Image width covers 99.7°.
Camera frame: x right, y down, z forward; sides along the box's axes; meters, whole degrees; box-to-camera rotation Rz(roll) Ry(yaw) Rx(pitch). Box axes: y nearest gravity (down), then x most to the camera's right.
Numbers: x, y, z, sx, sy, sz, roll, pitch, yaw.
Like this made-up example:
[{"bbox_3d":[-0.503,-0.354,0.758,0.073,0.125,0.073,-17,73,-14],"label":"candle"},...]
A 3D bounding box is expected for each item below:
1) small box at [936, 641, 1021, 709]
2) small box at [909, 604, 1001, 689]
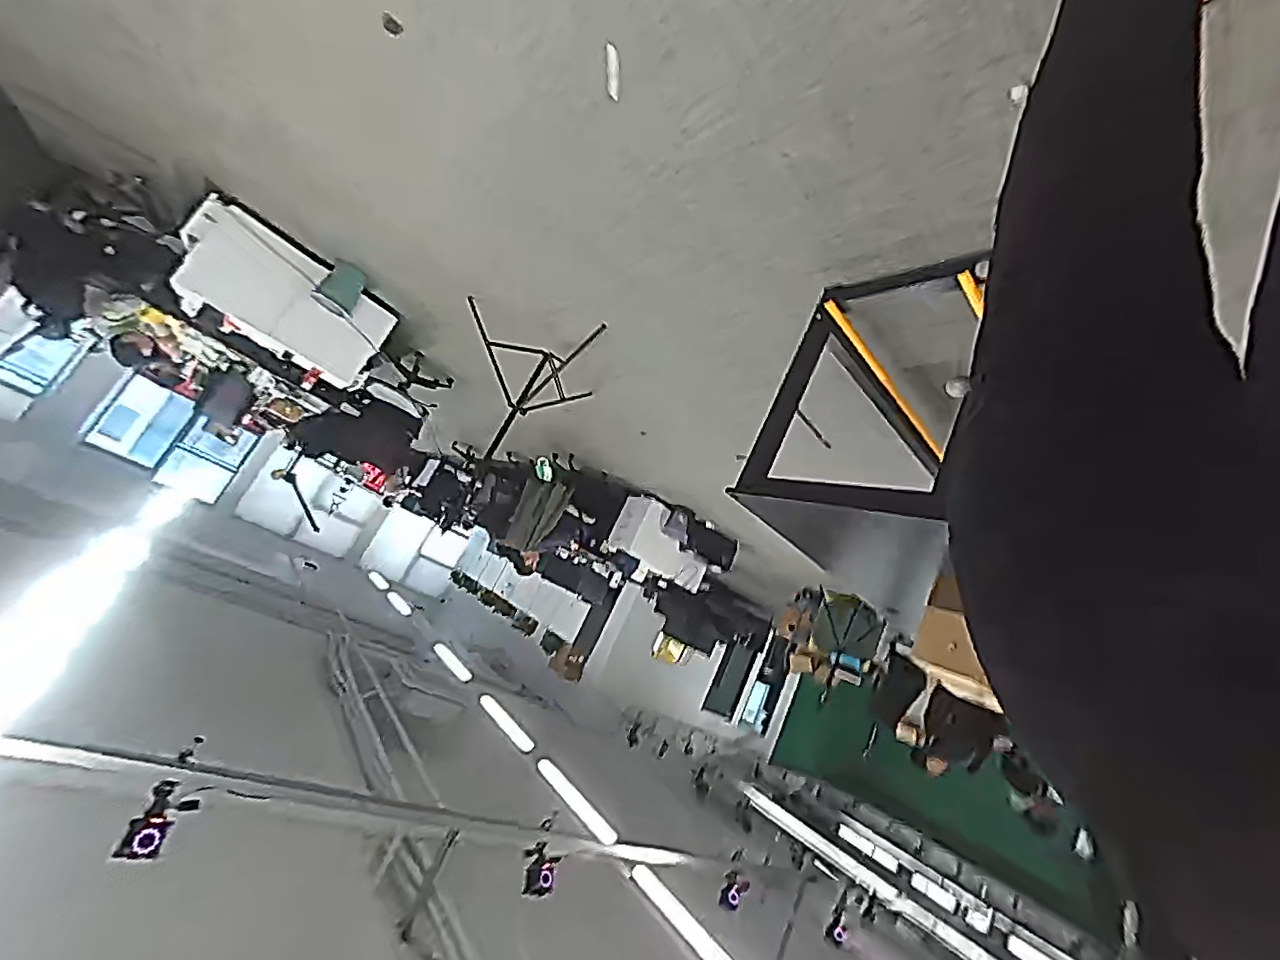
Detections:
[{"bbox_3d":[1.077,0.592,1.713,0.179,0.176,0.168,37,163,-33],"label":"small box"},{"bbox_3d":[0.925,0.479,1.579,0.168,0.176,0.179,37,163,-33],"label":"small box"}]
